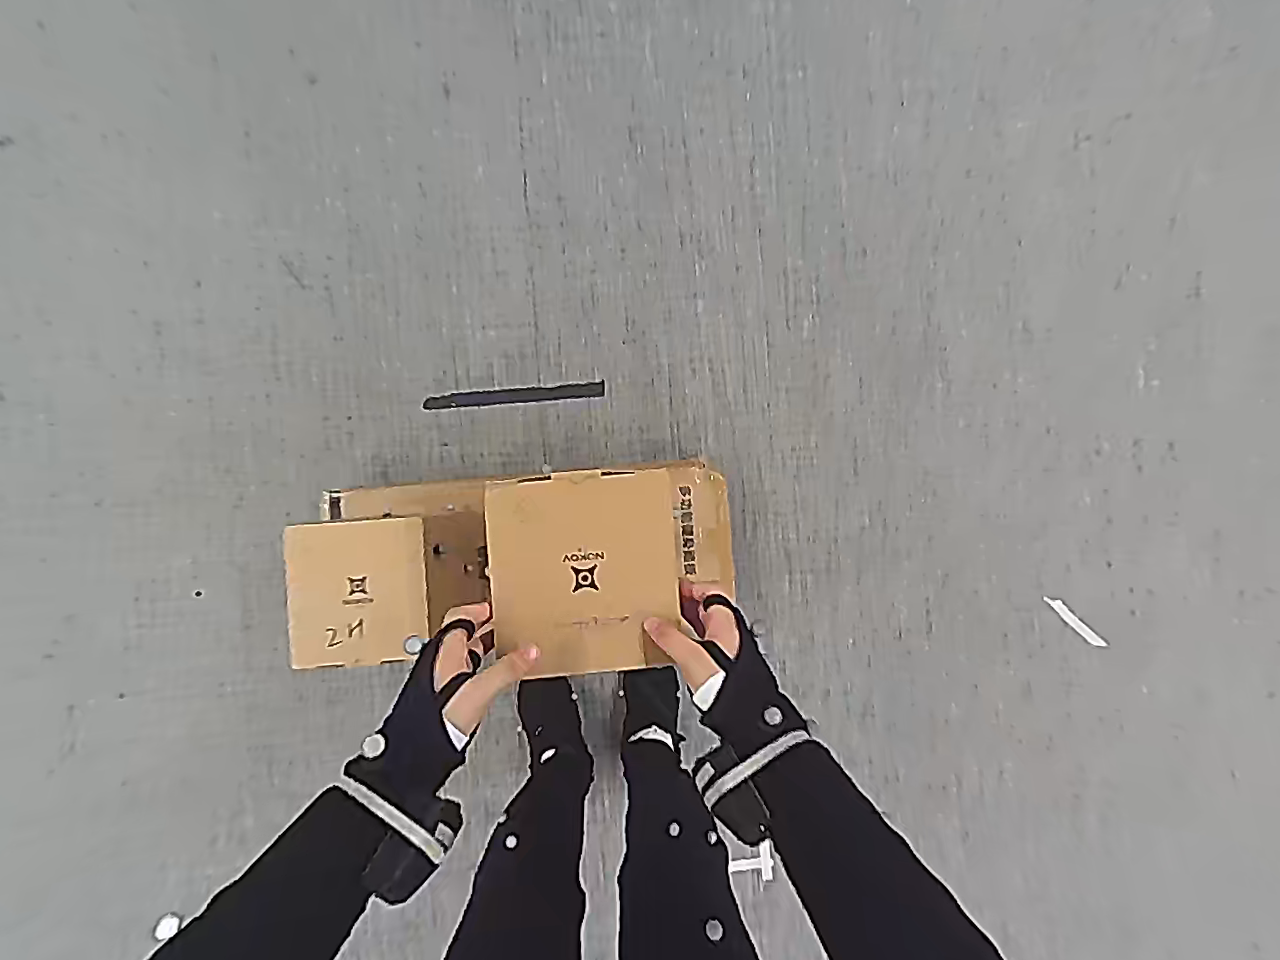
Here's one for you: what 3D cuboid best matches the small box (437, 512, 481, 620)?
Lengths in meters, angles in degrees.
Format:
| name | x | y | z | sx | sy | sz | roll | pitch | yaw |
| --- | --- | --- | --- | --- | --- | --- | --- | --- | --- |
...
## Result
| name | x | y | z | sx | sy | sz | roll | pitch | yaw |
| --- | --- | --- | --- | --- | --- | --- | --- | --- | --- |
| small box | -0.371 | 0.147 | 0.896 | 0.168 | 0.176 | 0.179 | -6 | 91 | -3 |

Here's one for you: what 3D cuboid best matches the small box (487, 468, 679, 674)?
| name | x | y | z | sx | sy | sz | roll | pitch | yaw |
| --- | --- | --- | --- | --- | --- | --- | --- | --- | --- |
| small box | -0.055 | 0.084 | 0.570 | 0.168 | 0.176 | 0.179 | -5 | 90 | -2 |

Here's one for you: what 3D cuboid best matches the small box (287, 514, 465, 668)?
| name | x | y | z | sx | sy | sz | roll | pitch | yaw |
| --- | --- | --- | --- | --- | --- | --- | --- | --- | --- |
| small box | -0.343 | 0.137 | 0.732 | 0.168 | 0.176 | 0.179 | -3 | 90 | -3 |
